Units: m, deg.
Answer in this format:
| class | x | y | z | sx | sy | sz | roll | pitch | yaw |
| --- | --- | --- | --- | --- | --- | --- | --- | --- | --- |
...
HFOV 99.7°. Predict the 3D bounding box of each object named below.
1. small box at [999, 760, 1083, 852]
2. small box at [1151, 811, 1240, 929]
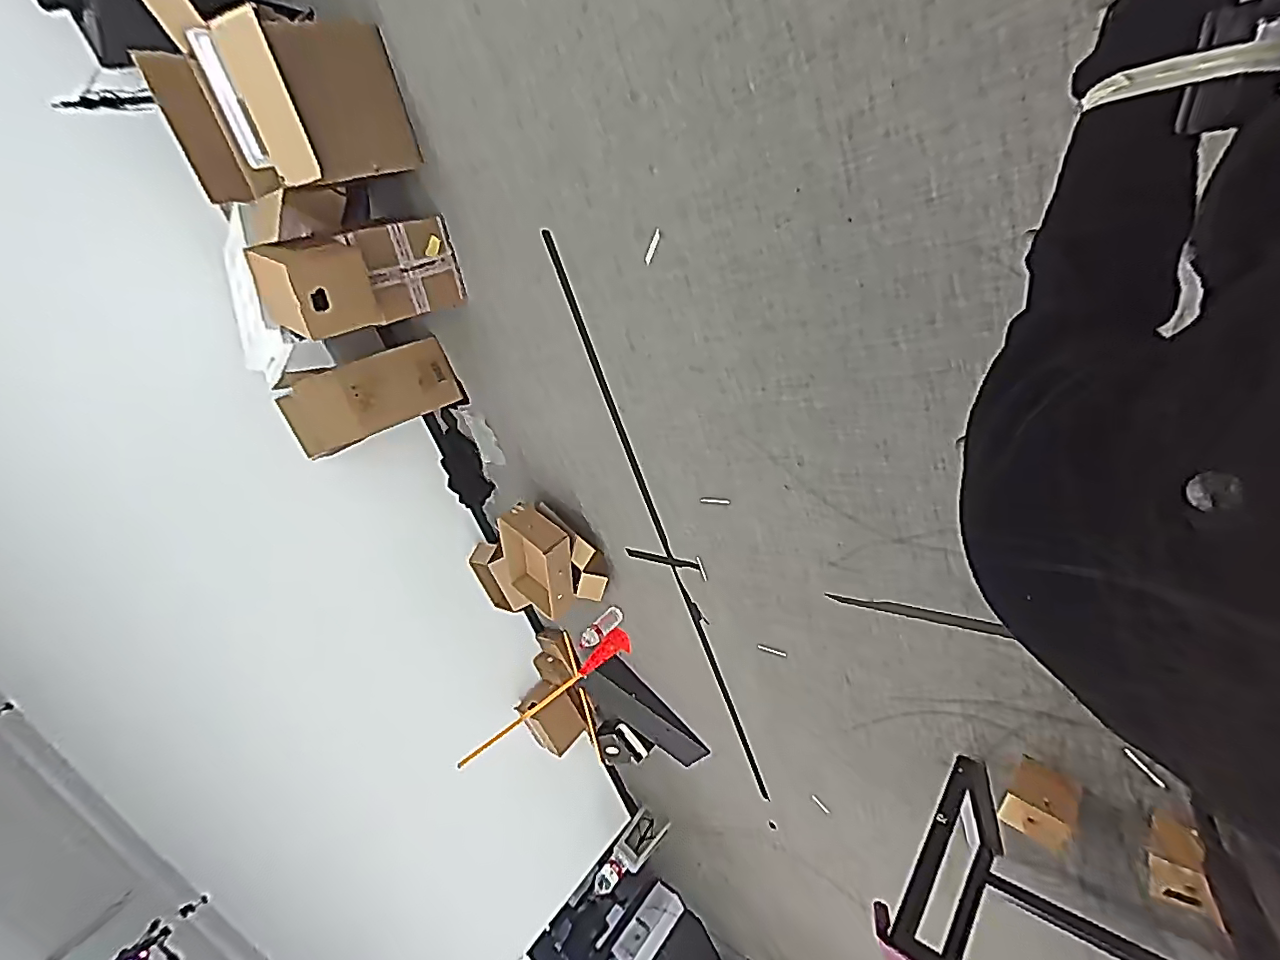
| class | x | y | z | sx | sy | sz | roll | pitch | yaw |
| --- | --- | --- | --- | --- | --- | --- | --- | --- | --- |
| small box | 1.324 | 1.065 | 1.786 | 0.179 | 0.176 | 0.168 | 20 | 132 | 36 |
| small box | 1.569 | 1.091 | 1.527 | 0.168 | 0.176 | 0.179 | 2 | 119 | 48 |
